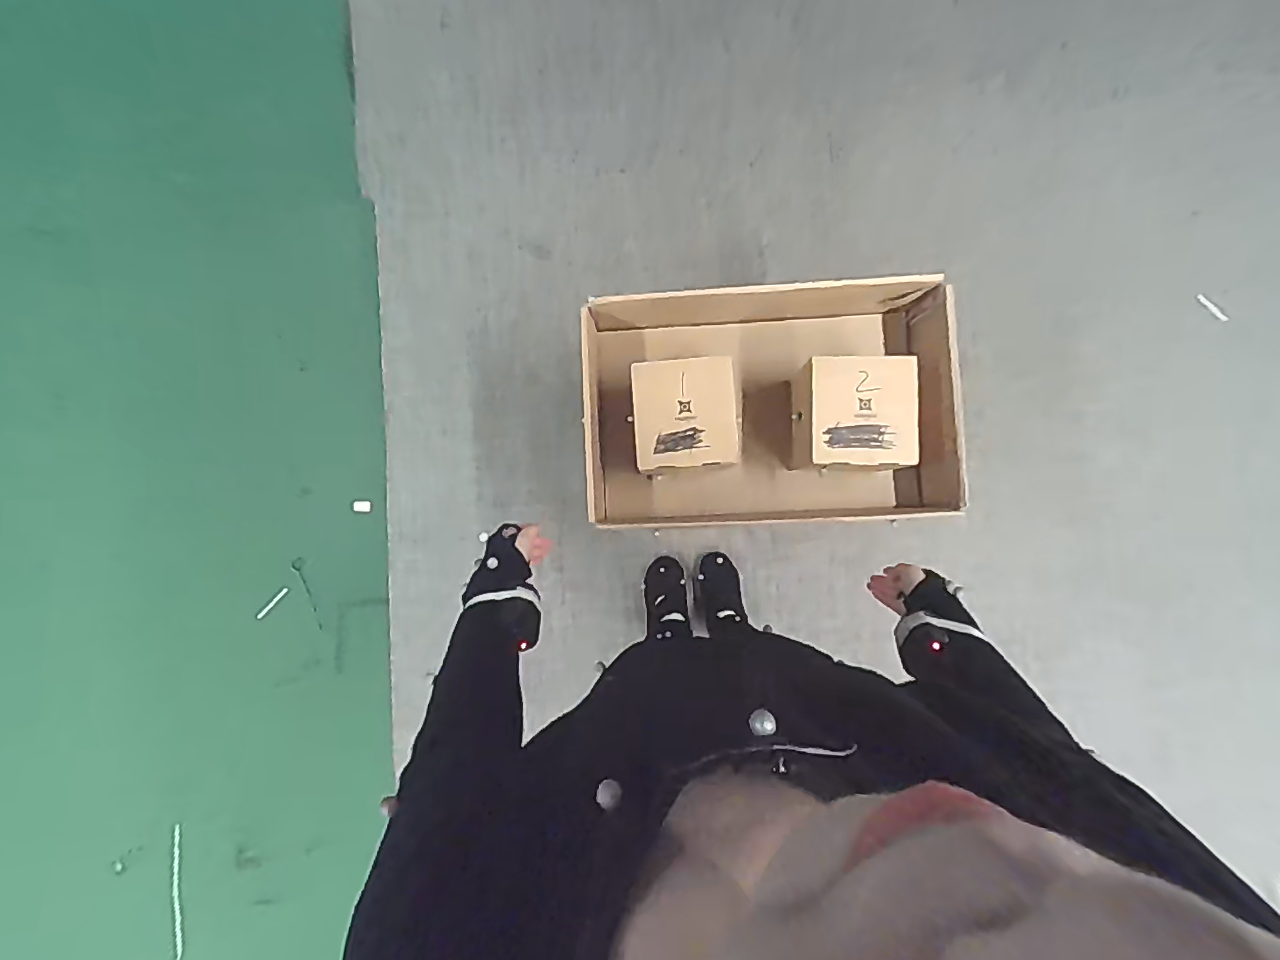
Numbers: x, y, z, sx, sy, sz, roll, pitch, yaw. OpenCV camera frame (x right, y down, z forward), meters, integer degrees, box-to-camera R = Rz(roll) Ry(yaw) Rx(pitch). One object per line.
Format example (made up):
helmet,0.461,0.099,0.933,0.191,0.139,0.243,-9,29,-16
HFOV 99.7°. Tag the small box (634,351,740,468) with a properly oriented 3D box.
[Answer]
small box,0.082,-0.114,0.947,0.168,0.176,0.179,-4,87,4
